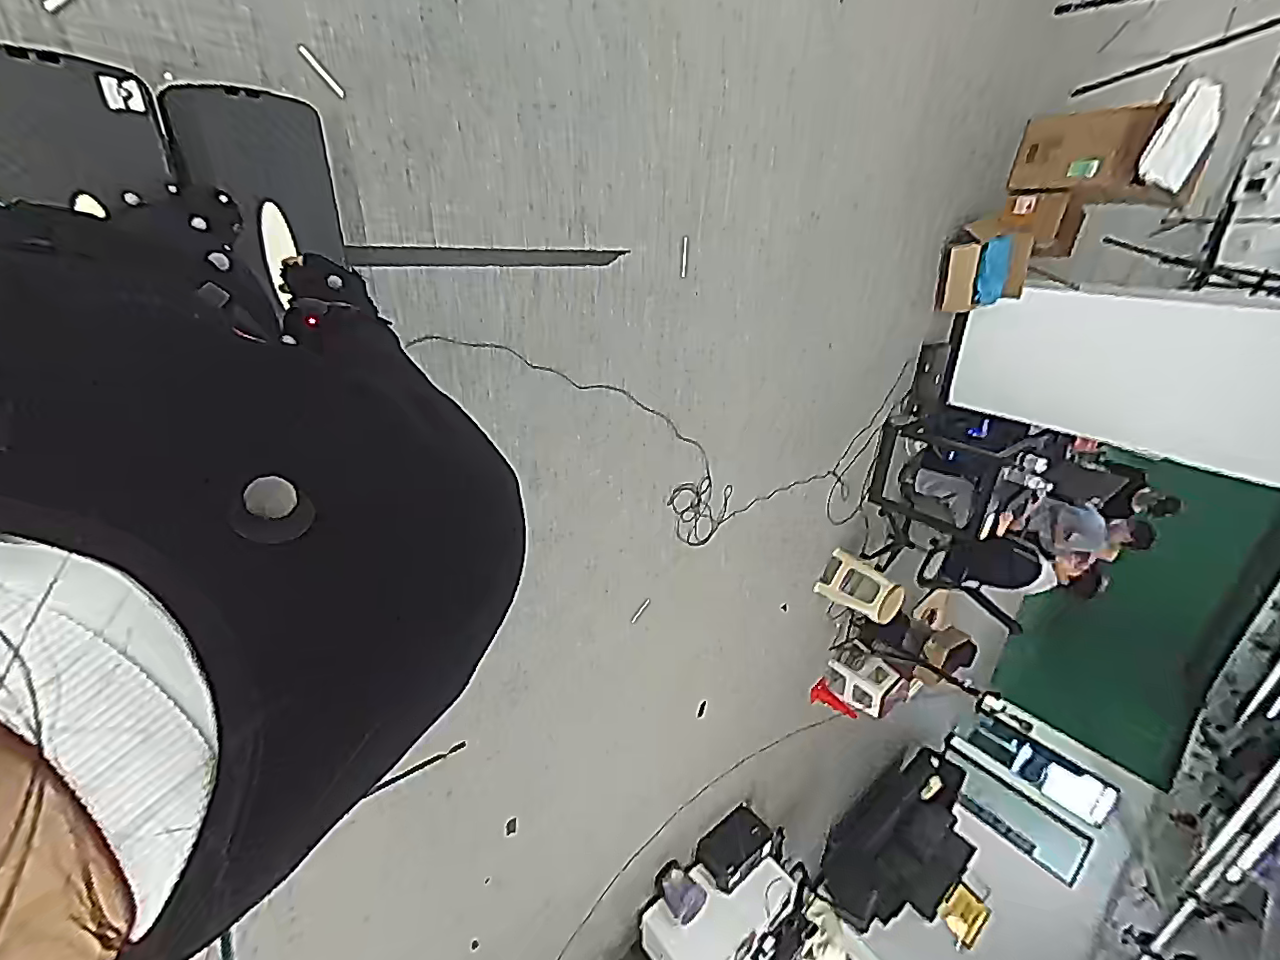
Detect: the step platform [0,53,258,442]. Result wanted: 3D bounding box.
[{"bbox_3d":[-1.024,-0.420,1.082,0.286,0.204,0.684,-19,121,-35],"label":"step platform"}]
